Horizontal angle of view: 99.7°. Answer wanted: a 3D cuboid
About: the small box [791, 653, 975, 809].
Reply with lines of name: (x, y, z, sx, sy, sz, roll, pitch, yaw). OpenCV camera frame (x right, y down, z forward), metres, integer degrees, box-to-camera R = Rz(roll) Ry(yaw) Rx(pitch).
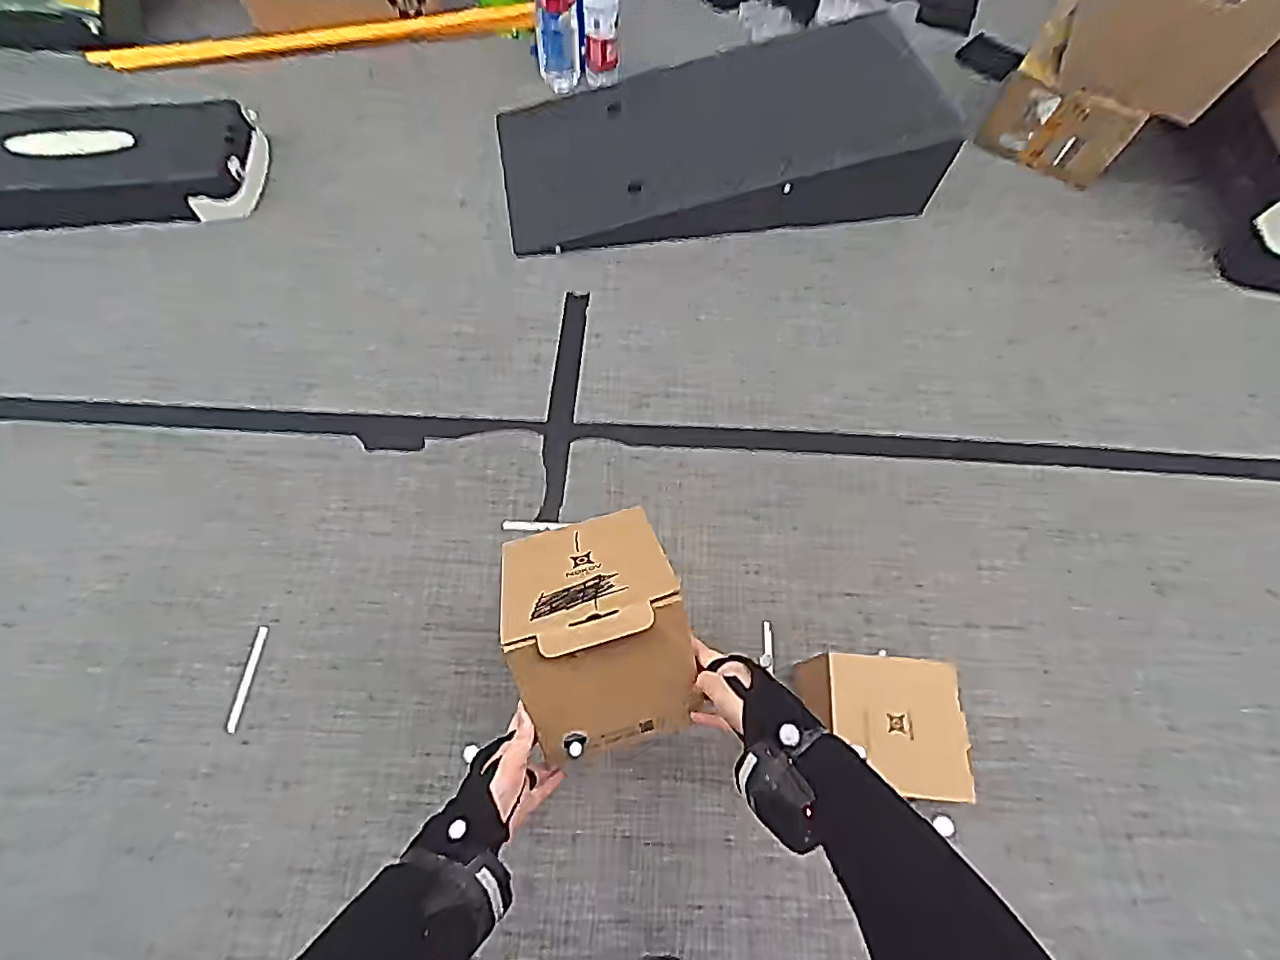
small box: (0.324, 0.345, 0.756, 0.179, 0.176, 0.168, 6, 65, 0)

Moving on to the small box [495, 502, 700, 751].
small box: (-0.043, 0.151, 0.564, 0.168, 0.176, 0.179, -14, 27, -6)
